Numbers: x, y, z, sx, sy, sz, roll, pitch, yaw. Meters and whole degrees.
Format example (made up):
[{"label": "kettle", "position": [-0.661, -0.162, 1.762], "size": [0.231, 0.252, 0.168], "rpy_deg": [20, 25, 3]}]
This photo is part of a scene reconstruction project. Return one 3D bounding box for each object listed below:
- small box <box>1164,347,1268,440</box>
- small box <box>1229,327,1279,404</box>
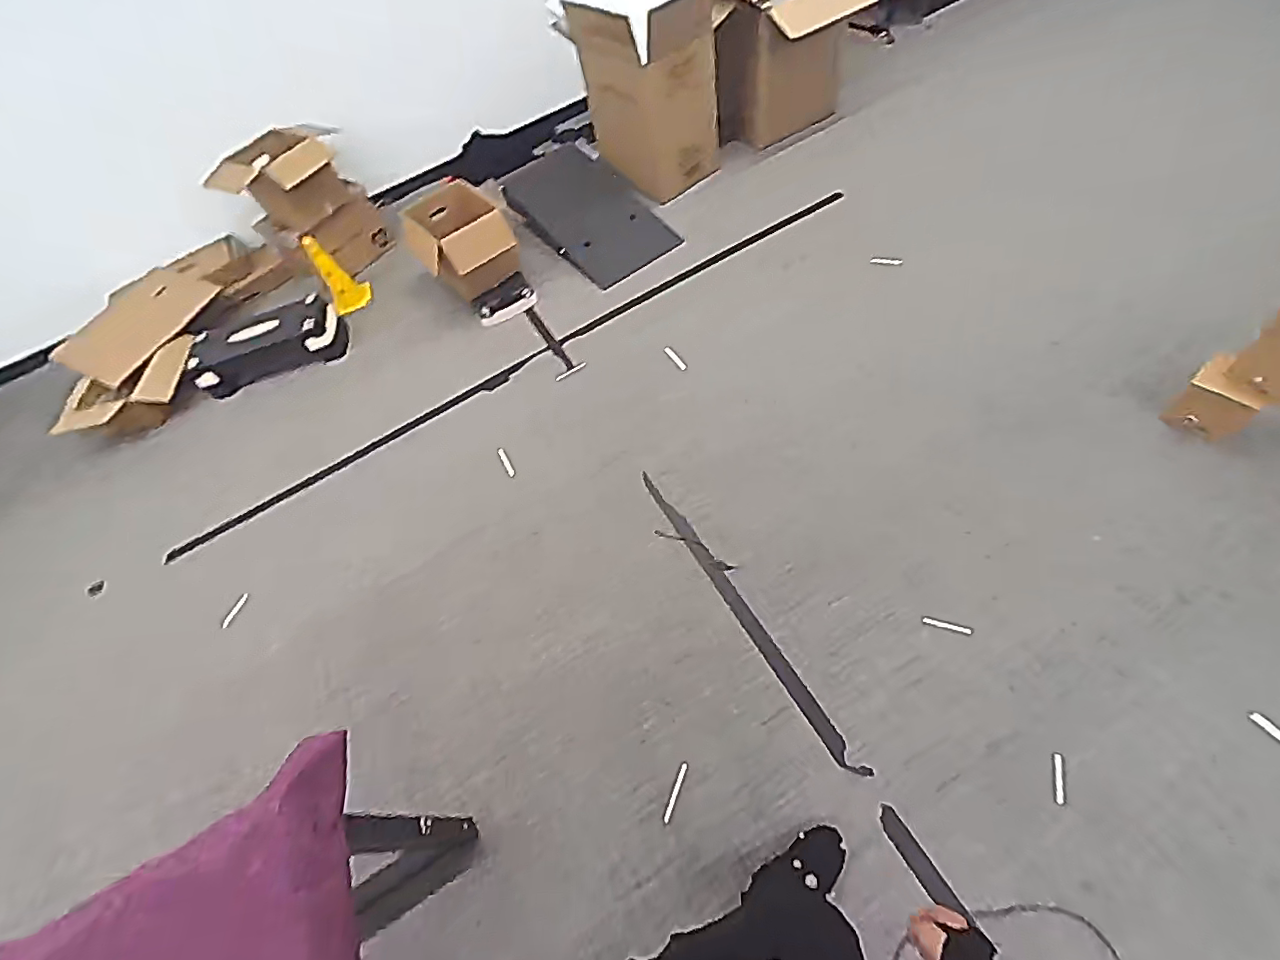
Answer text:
[{"label": "small box", "position": [1.737, -0.256, 1.615], "size": [0.179, 0.176, 0.168], "rpy_deg": [-40, 57, -14]}, {"label": "small box", "position": [1.784, -0.339, 1.461], "size": [0.179, 0.176, 0.168], "rpy_deg": [-27, 55, -6]}]
